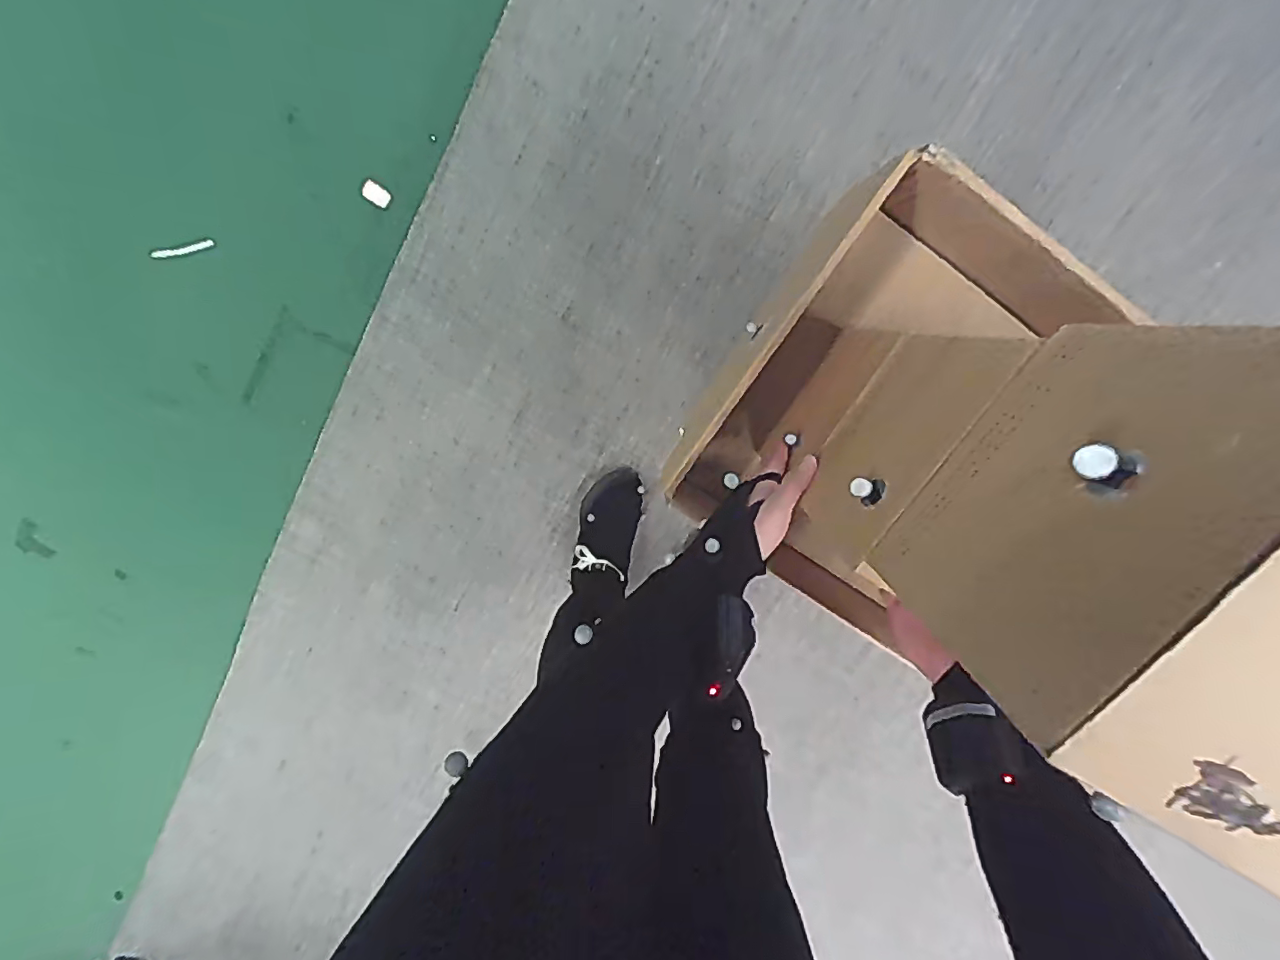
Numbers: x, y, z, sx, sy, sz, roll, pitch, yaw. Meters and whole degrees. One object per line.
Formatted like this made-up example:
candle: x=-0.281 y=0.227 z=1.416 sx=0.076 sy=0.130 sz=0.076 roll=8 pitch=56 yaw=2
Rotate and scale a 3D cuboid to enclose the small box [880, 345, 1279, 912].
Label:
small box: x=0.252 y=0.050 z=0.255 sx=0.168 sy=0.176 sz=0.179 roll=31 pitch=104 yaw=-6
